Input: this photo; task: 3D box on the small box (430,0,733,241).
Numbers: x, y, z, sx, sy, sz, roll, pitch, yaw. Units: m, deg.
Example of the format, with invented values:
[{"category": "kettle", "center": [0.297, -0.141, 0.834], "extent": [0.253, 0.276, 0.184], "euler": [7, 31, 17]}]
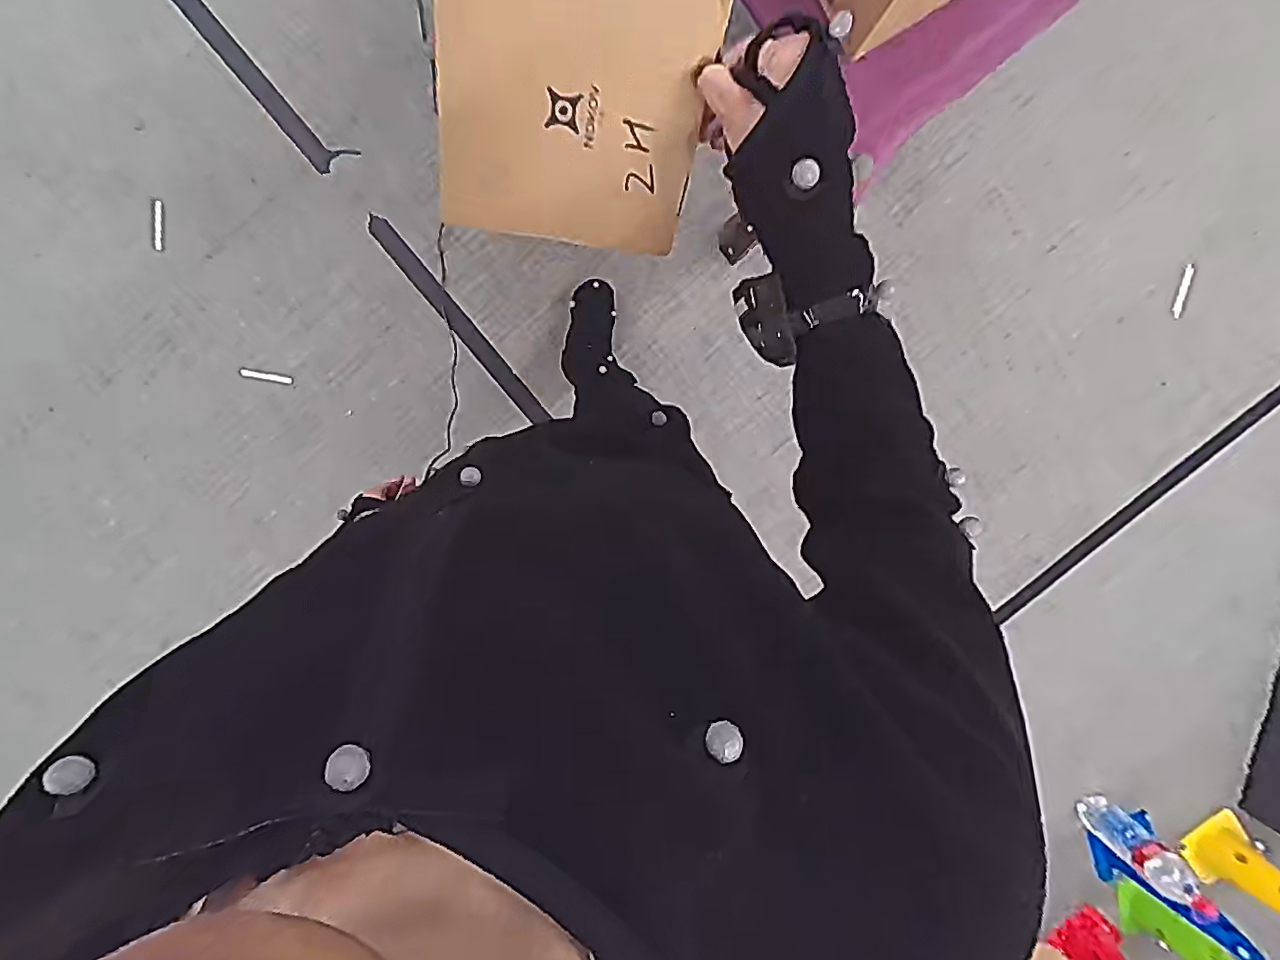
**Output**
[{"category": "small box", "center": [-0.054, -0.305, 0.404], "extent": [0.179, 0.176, 0.168], "euler": [2, 135, -16]}]
